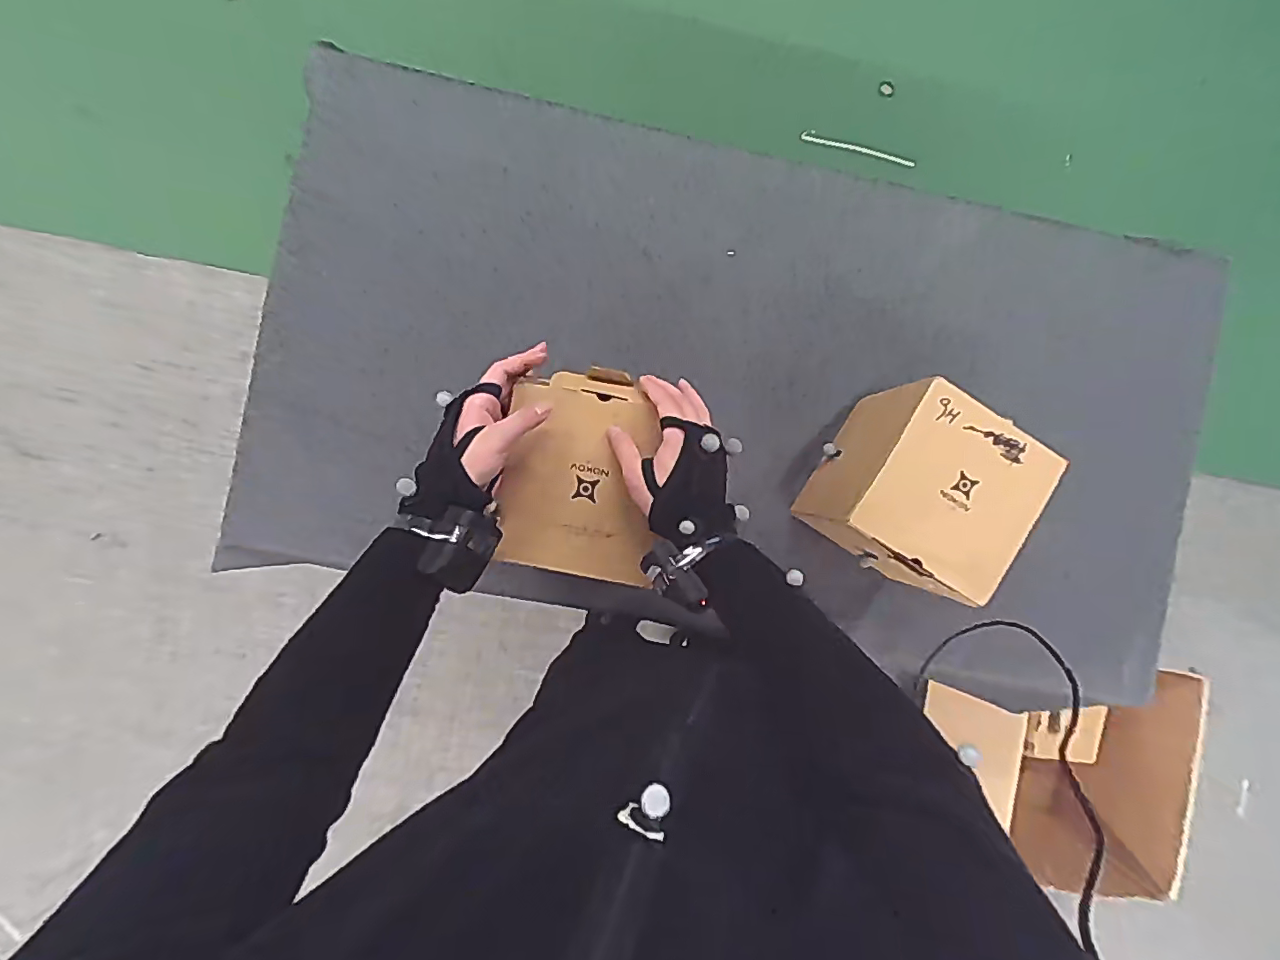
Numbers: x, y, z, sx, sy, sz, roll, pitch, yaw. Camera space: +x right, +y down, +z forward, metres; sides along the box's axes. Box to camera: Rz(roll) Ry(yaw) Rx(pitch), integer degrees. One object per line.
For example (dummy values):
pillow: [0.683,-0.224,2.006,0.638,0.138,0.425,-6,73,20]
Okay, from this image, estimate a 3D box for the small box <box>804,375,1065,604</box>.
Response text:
small box: [0.313,0.009,0.620,0.168,0.176,0.179,34,89,-3]

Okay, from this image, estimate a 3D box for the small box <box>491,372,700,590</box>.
small box: [-0.046,-0.003,0.576,0.168,0.176,0.179,12,94,-3]
